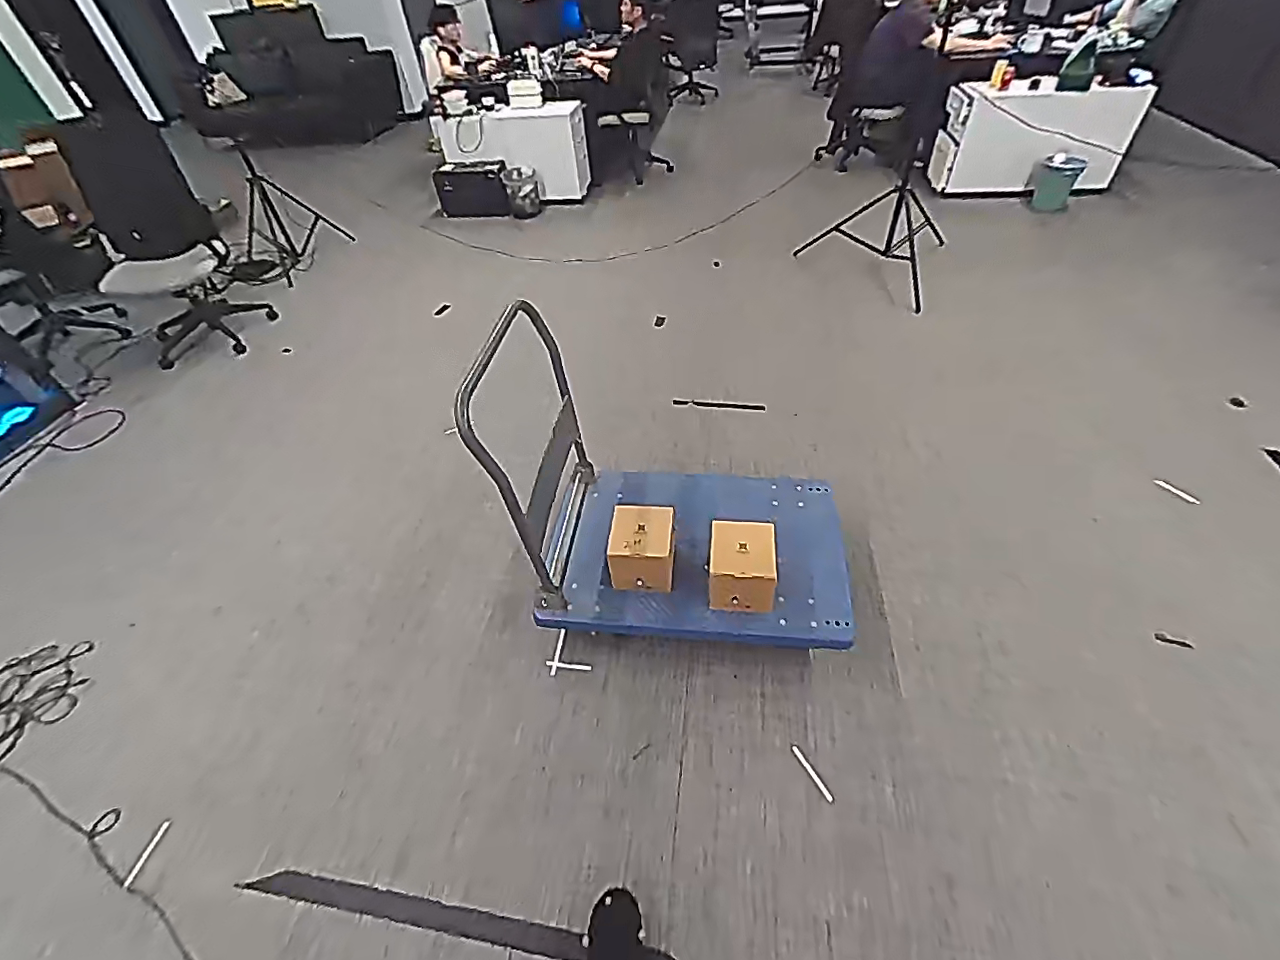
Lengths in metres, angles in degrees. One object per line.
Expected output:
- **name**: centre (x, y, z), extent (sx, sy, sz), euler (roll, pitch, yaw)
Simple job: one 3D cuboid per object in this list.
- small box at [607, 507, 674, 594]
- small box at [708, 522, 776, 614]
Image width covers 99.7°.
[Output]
- **small box**: centre (0.007, 0.196, 1.517), extent (0.168, 0.176, 0.179), euler (1, 46, 8)
- **small box**: centre (0.271, 0.235, 1.454), extent (0.168, 0.176, 0.179), euler (2, 46, 8)
